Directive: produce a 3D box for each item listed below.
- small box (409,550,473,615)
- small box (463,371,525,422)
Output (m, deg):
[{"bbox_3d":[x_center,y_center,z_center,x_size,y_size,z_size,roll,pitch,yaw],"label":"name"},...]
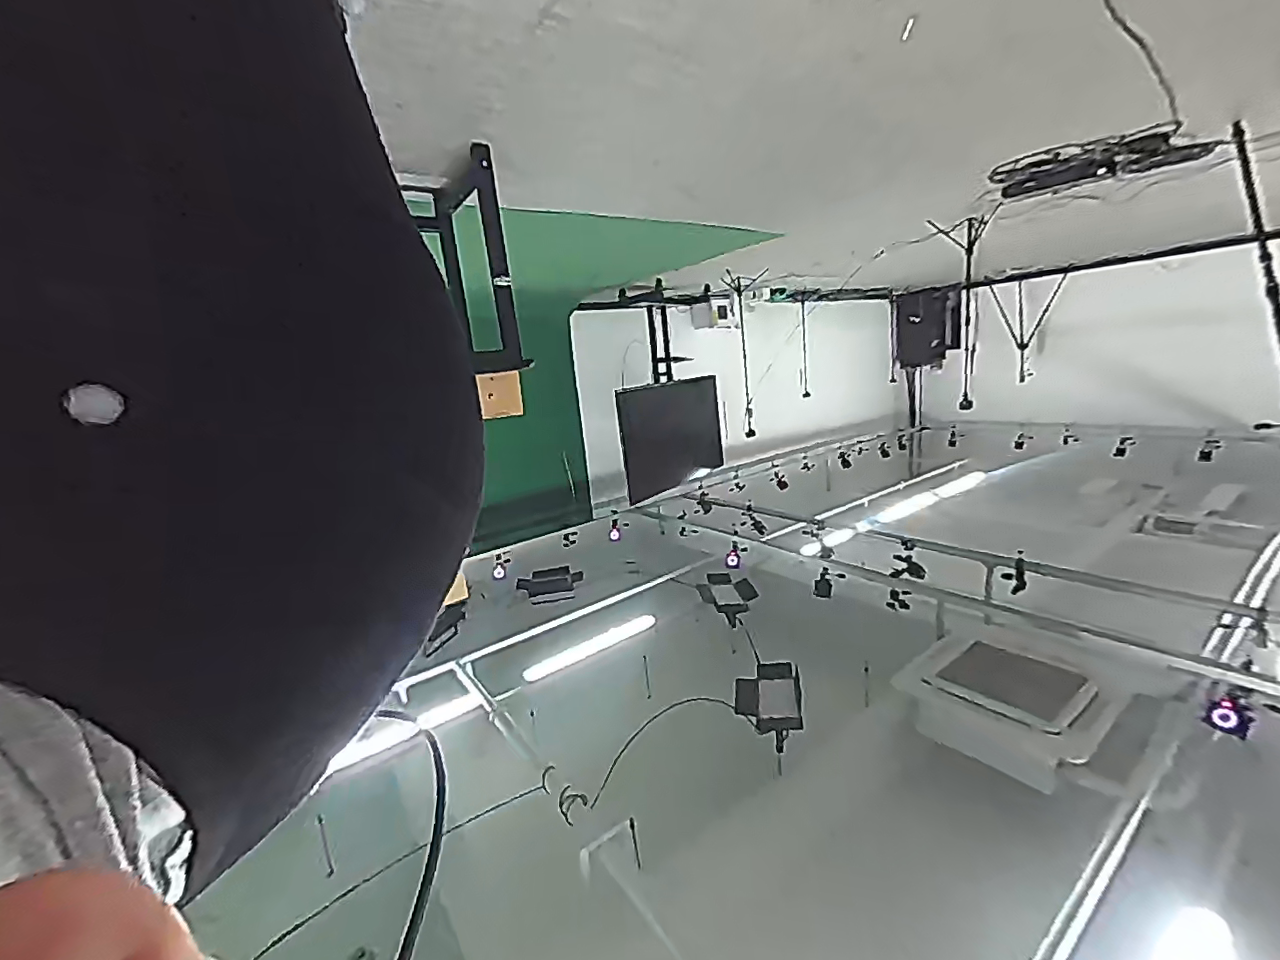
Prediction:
[{"bbox_3d":[-0.736,0.368,1.988,0.168,0.176,0.179,-17,-165,-35],"label":"small box"},{"bbox_3d":[-0.548,-0.315,2.013,0.168,0.176,0.179,-13,-165,-33],"label":"small box"}]
